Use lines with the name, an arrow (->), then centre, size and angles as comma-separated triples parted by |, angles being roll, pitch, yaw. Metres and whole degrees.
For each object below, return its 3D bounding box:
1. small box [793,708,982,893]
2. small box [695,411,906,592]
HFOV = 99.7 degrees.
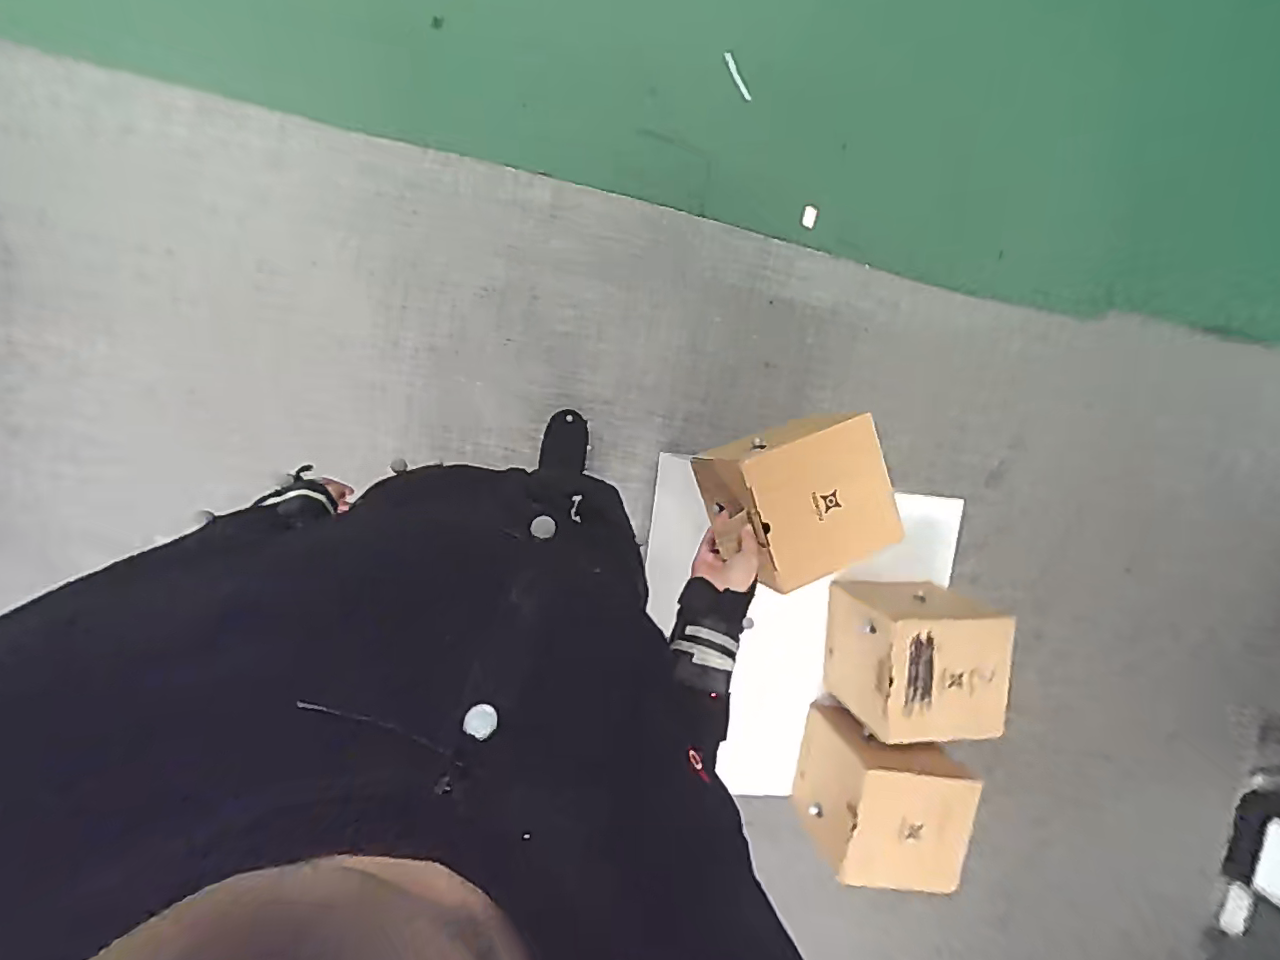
small box -> 0.348, 0.458, 0.794 | 0.179, 0.176, 0.168 | 10, 96, -10
small box -> 0.196, 0.017, 0.695 | 0.179, 0.176, 0.168 | -22, 99, -12
